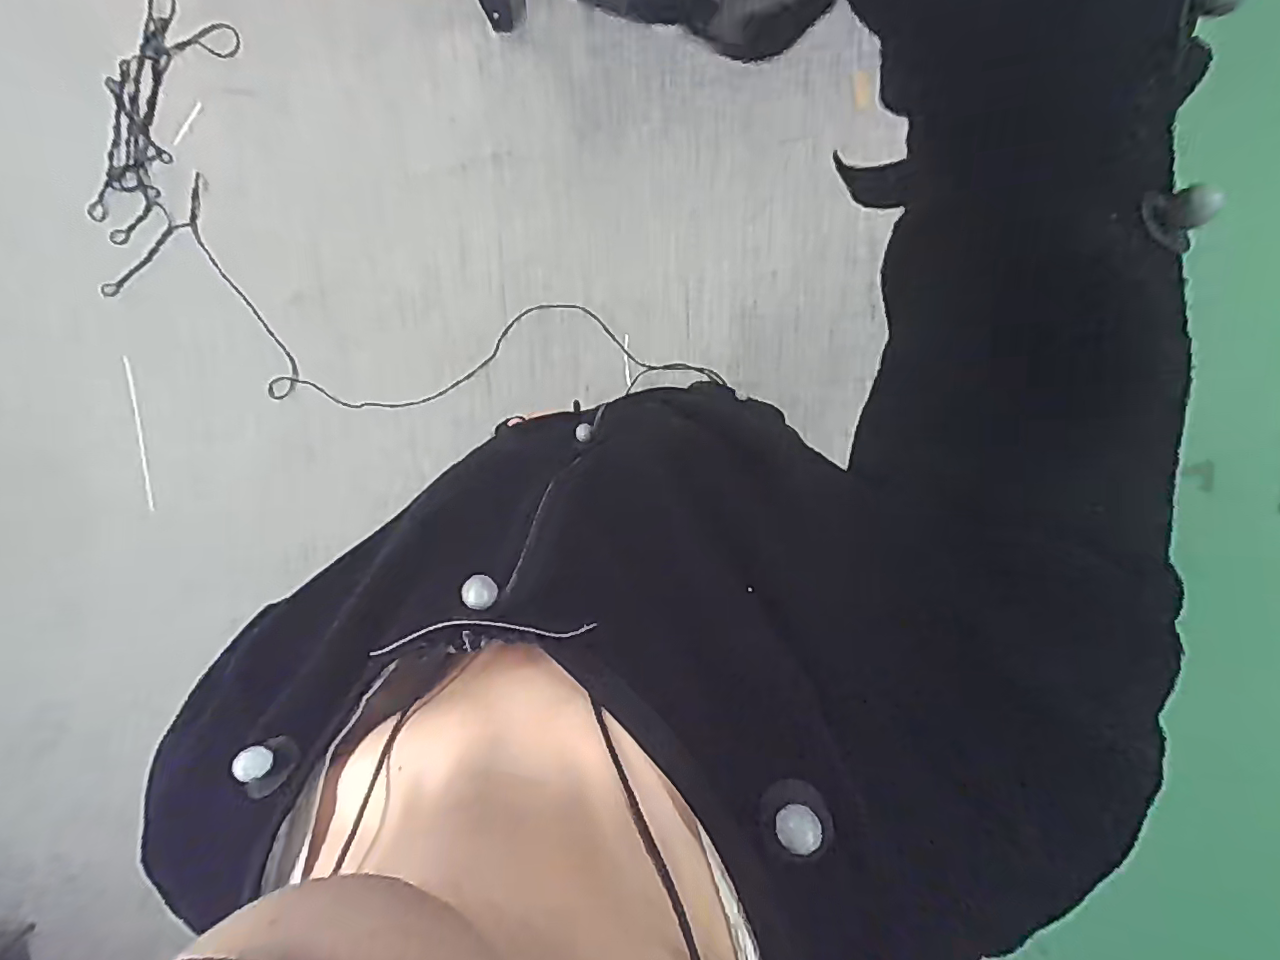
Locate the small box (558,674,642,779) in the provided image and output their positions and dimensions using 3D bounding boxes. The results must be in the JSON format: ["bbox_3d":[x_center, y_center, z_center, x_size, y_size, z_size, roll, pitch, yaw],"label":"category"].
[{"bbox_3d":[-0.090,0.594,1.314,0.168,0.176,0.179,-5,96,6],"label":"small box"}]
